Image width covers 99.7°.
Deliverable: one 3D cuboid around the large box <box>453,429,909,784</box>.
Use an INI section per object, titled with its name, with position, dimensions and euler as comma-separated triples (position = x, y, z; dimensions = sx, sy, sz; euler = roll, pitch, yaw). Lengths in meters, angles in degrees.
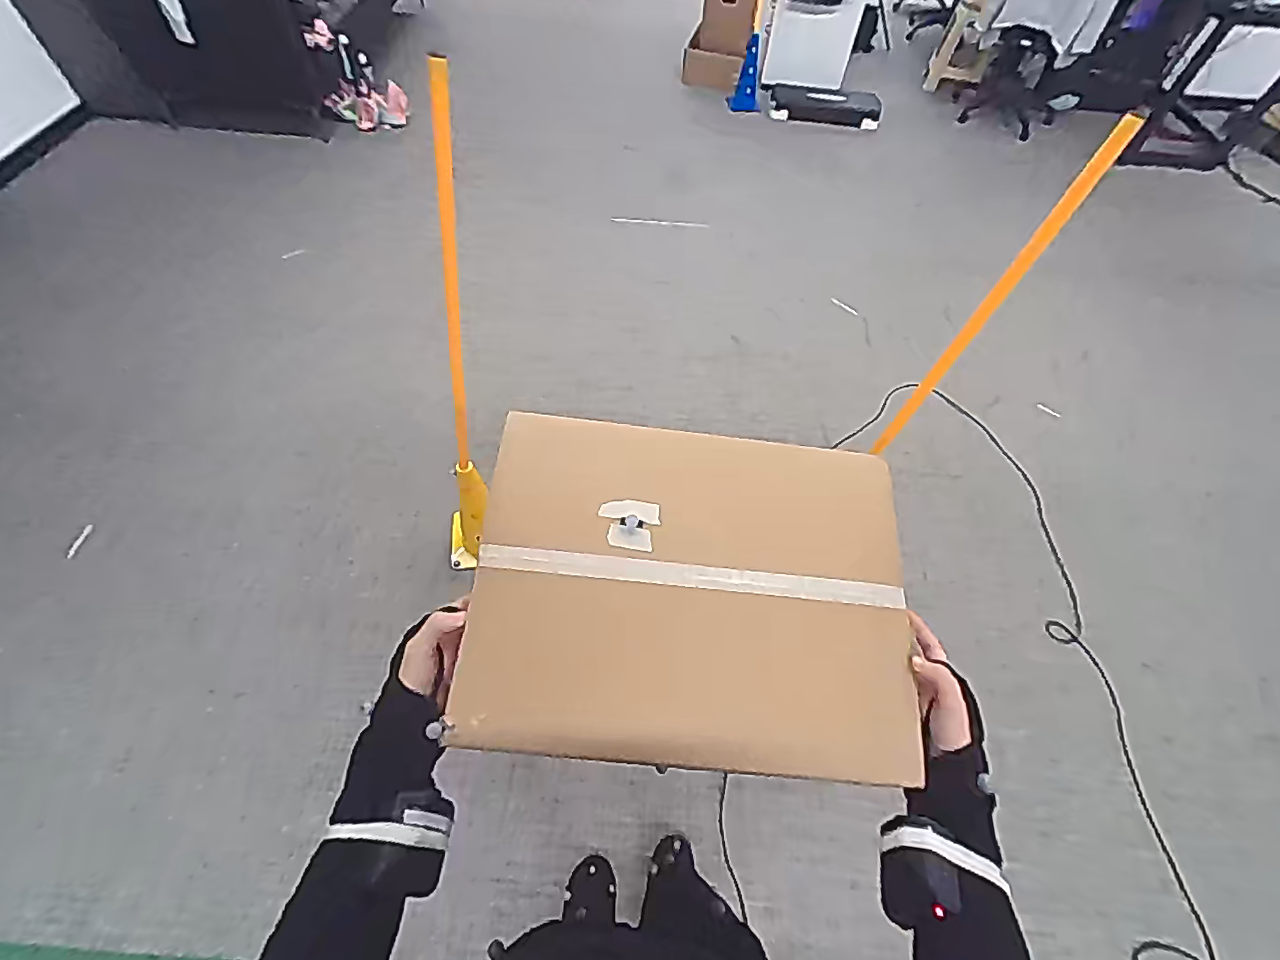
[large box]
position = 0.040, 0.161, 0.657
dimensions = 0.408, 0.320, 0.320
euler = 7, 66, -2
